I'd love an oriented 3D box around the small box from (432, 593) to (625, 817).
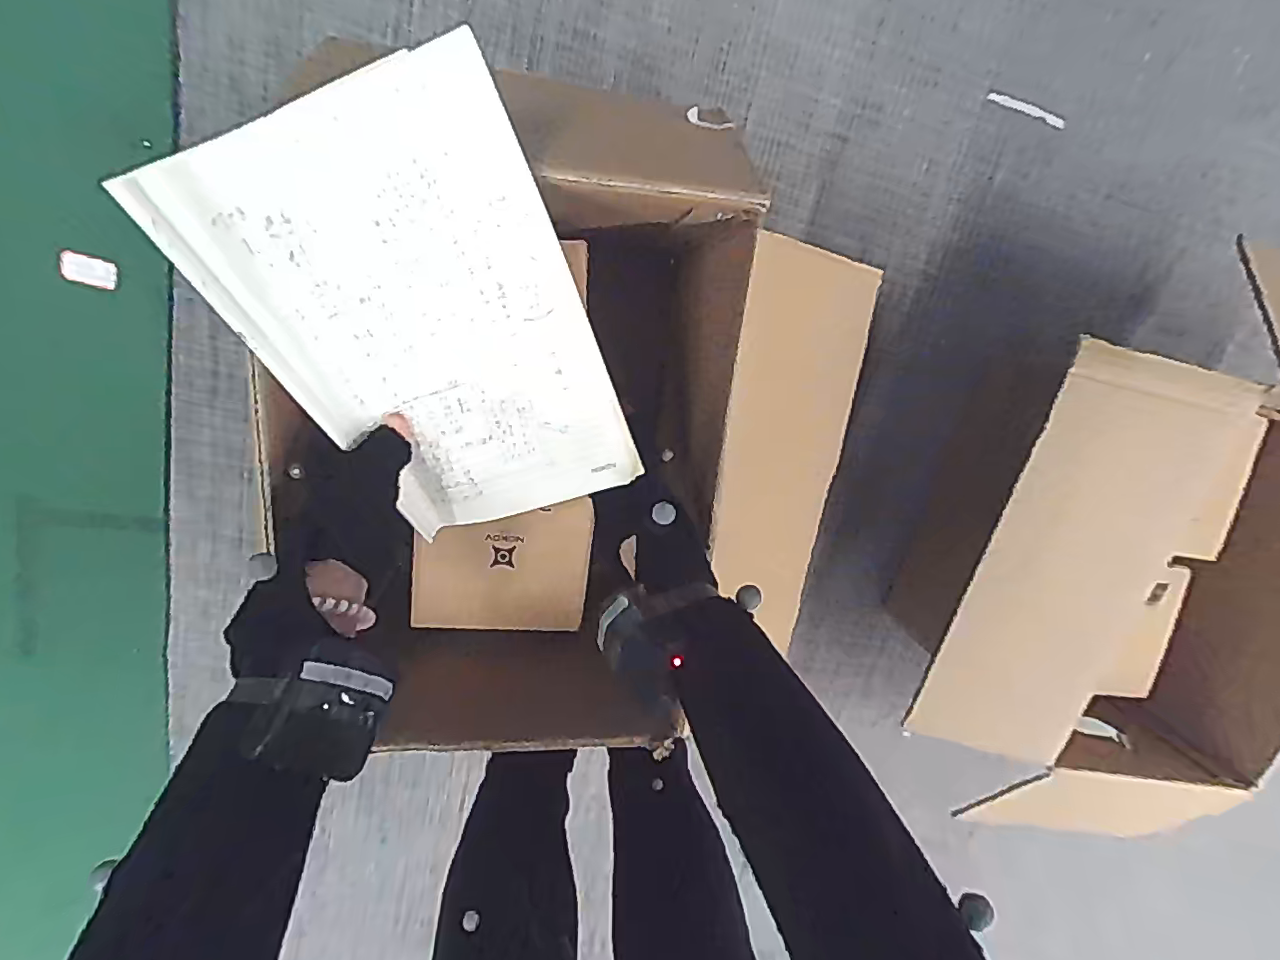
[{"bbox_3d":[-0.146,0.288,0.712,0.179,0.176,0.168,30,110,3],"label":"small box"}]
